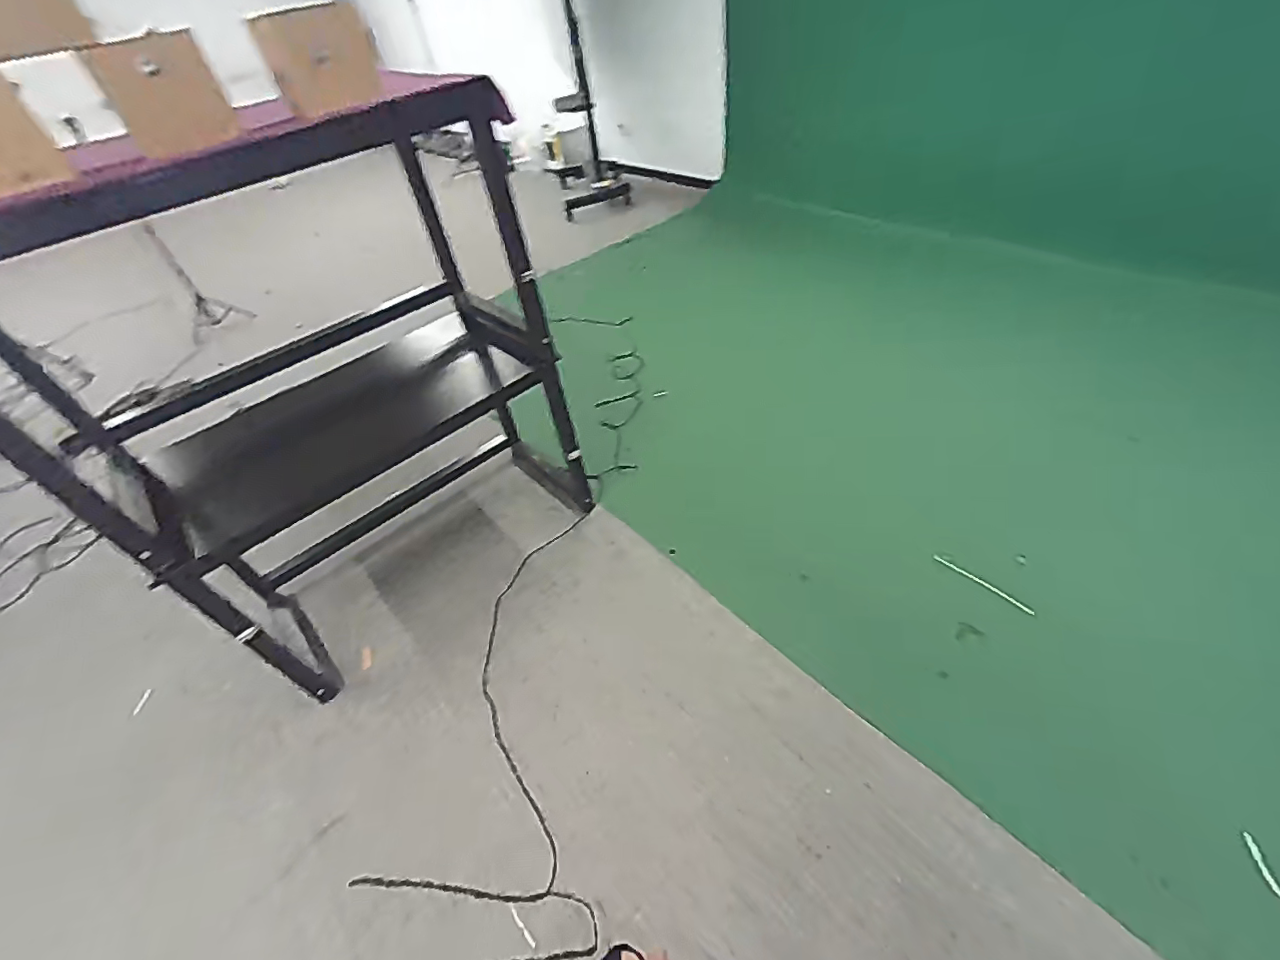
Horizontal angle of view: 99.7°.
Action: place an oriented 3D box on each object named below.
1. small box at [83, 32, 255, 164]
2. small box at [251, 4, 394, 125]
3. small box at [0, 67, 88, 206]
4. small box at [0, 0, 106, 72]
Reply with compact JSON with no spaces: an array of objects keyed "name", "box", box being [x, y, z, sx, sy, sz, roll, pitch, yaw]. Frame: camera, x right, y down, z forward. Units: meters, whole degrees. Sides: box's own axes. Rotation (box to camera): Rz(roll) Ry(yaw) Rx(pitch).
[{"name":"small box","box":[-0.870,-0.707,1.007,0.179,0.176,0.168,-35,49,-24]},{"name":"small box","box":[-0.653,-0.861,1.126,0.179,0.176,0.168,-37,51,-24]},{"name":"small box","box":[-1.070,-0.560,0.890,0.168,0.176,0.179,-37,48,-26]},{"name":"small box","box":[-0.991,-0.758,0.843,0.179,0.176,0.168,-38,50,-25]}]
